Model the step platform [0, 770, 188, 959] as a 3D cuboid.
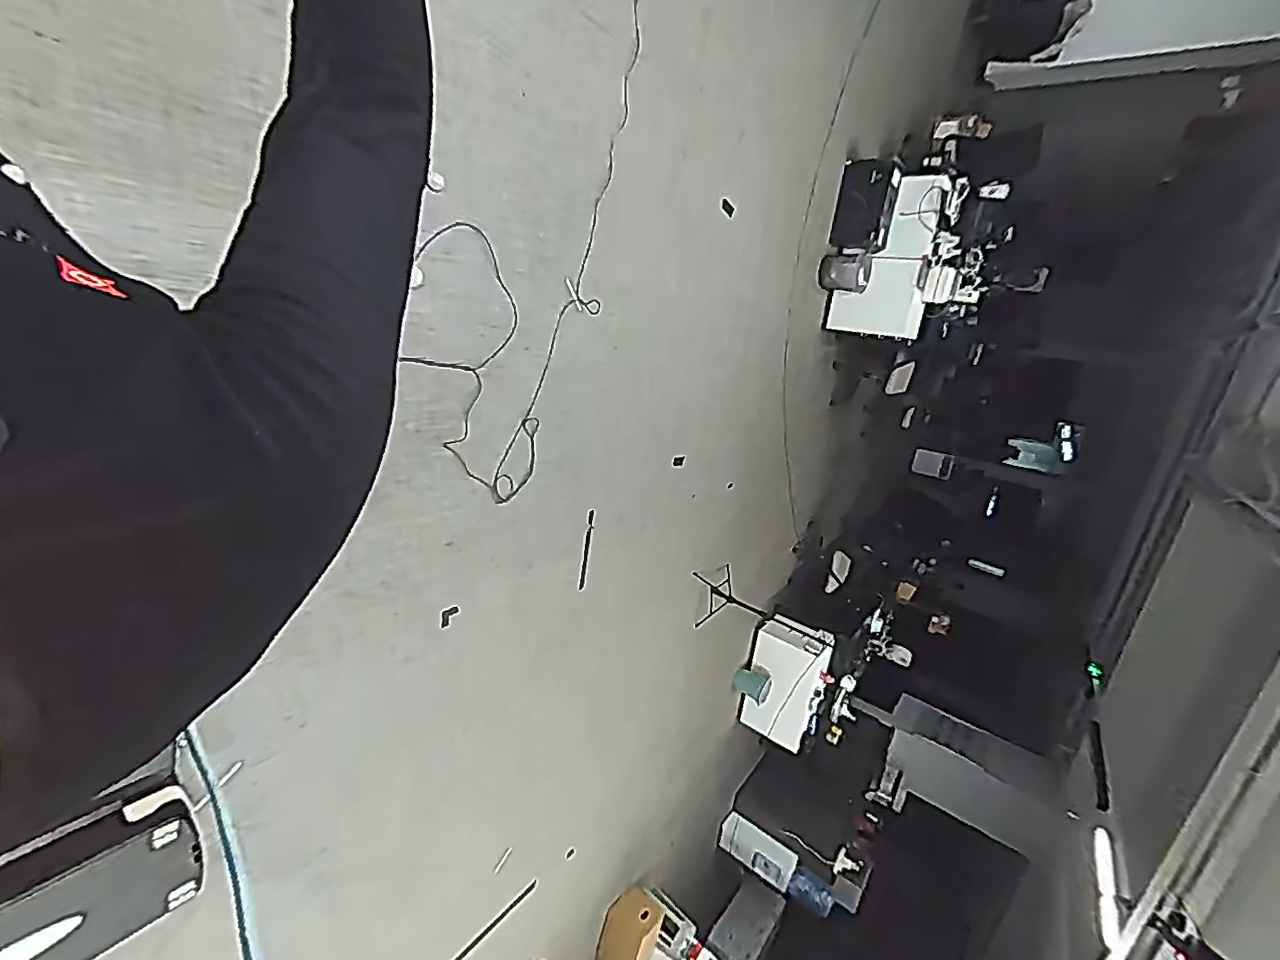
[{"bbox_3d":[-1.353,0.922,1.086,0.684,0.204,0.286,-17,120,-49],"label":"step platform"}]
